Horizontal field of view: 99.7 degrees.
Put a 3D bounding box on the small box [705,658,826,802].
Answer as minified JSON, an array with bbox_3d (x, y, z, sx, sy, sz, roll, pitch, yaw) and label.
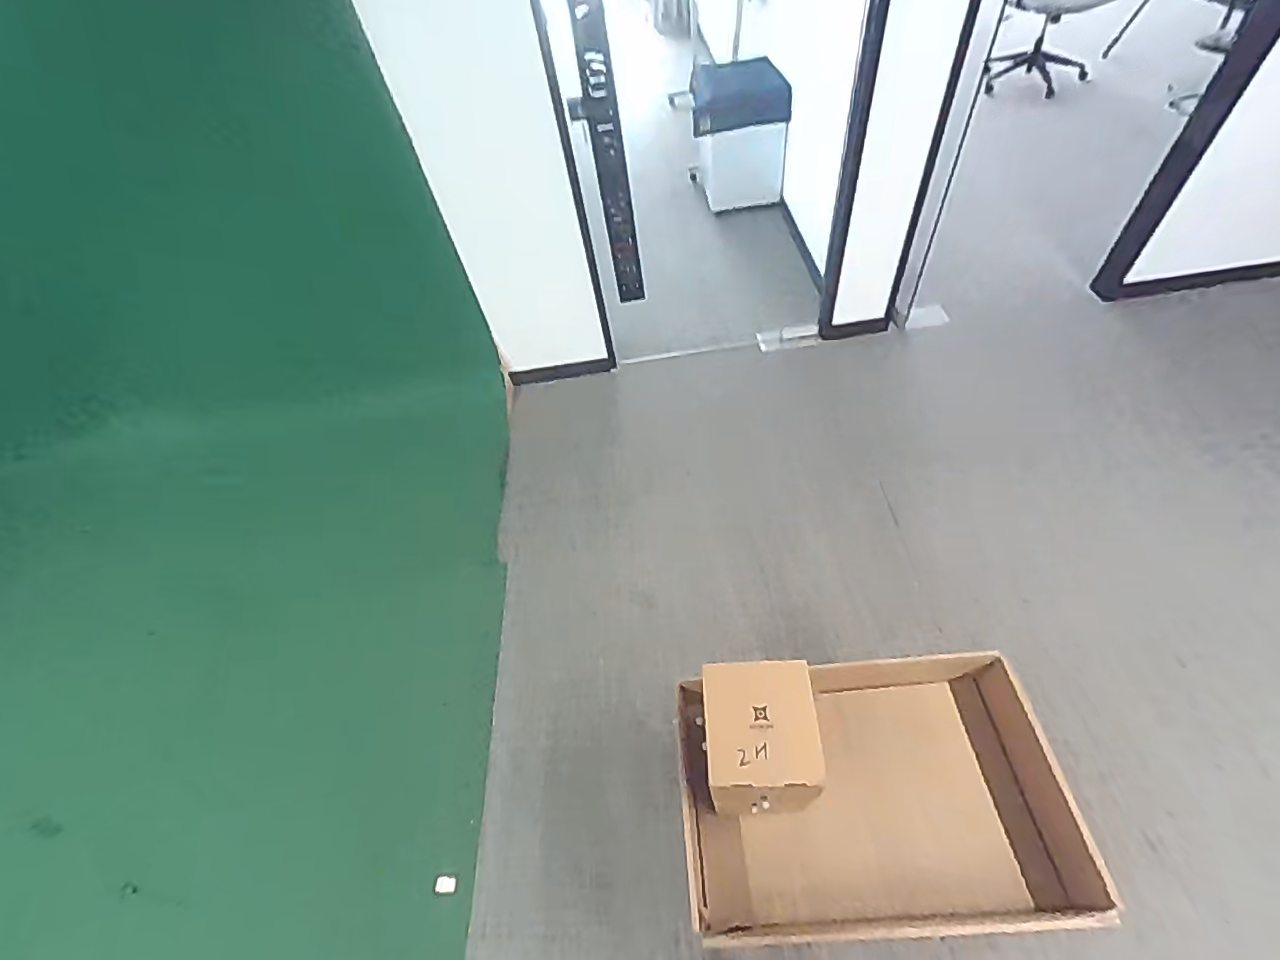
[{"bbox_3d":[0.189,0.401,0.866,0.168,0.176,0.179,-4,52,7],"label":"small box"}]

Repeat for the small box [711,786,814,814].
[{"bbox_3d":[0.210,0.501,0.995,0.168,0.176,0.179,-5,52,5],"label":"small box"}]
